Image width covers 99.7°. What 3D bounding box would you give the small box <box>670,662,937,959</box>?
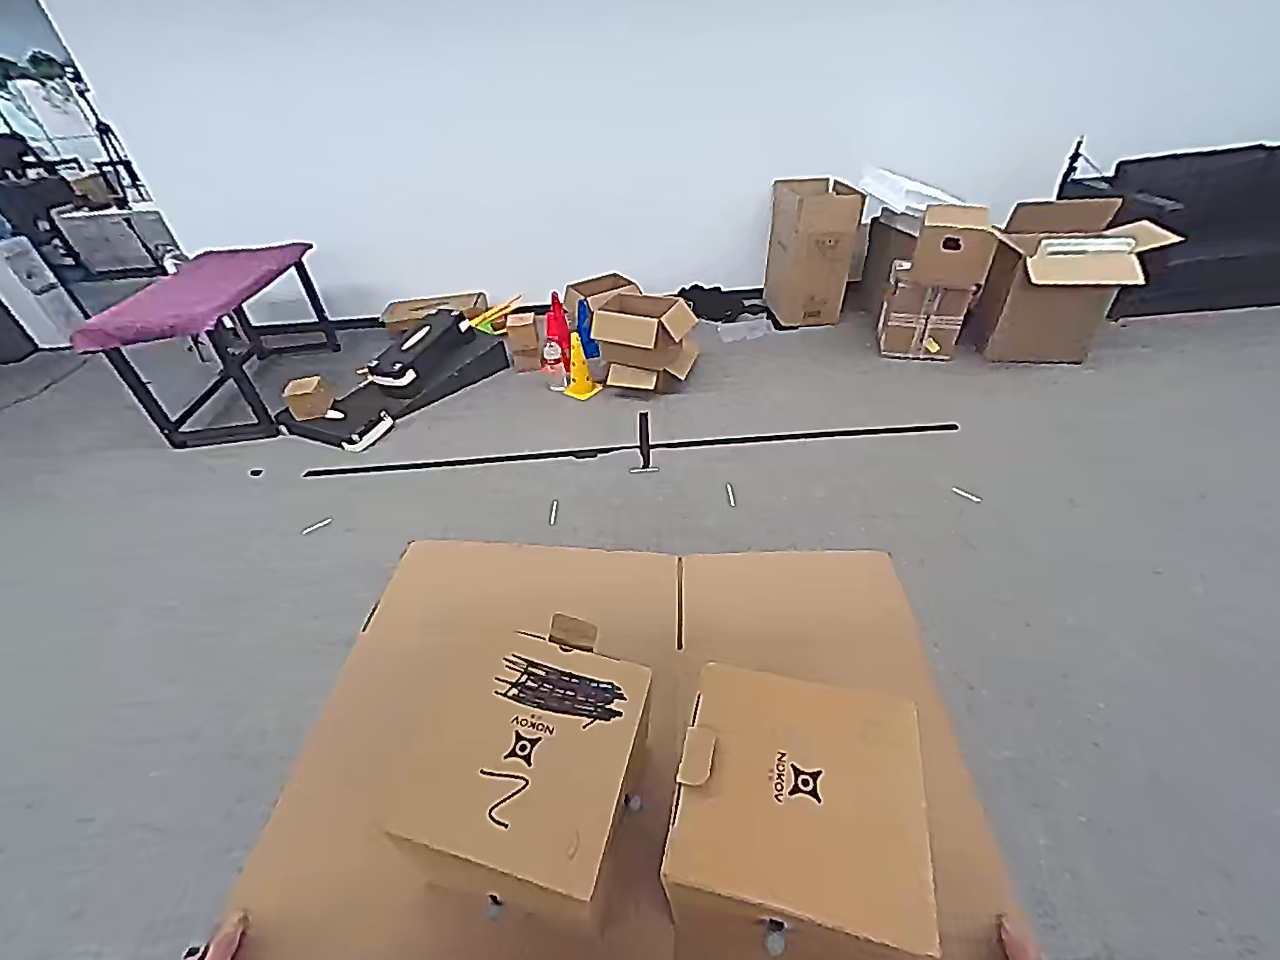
[{"bbox_3d":[0.135,0.287,0.470,0.179,0.176,0.168,5,44,16],"label":"small box"}]
